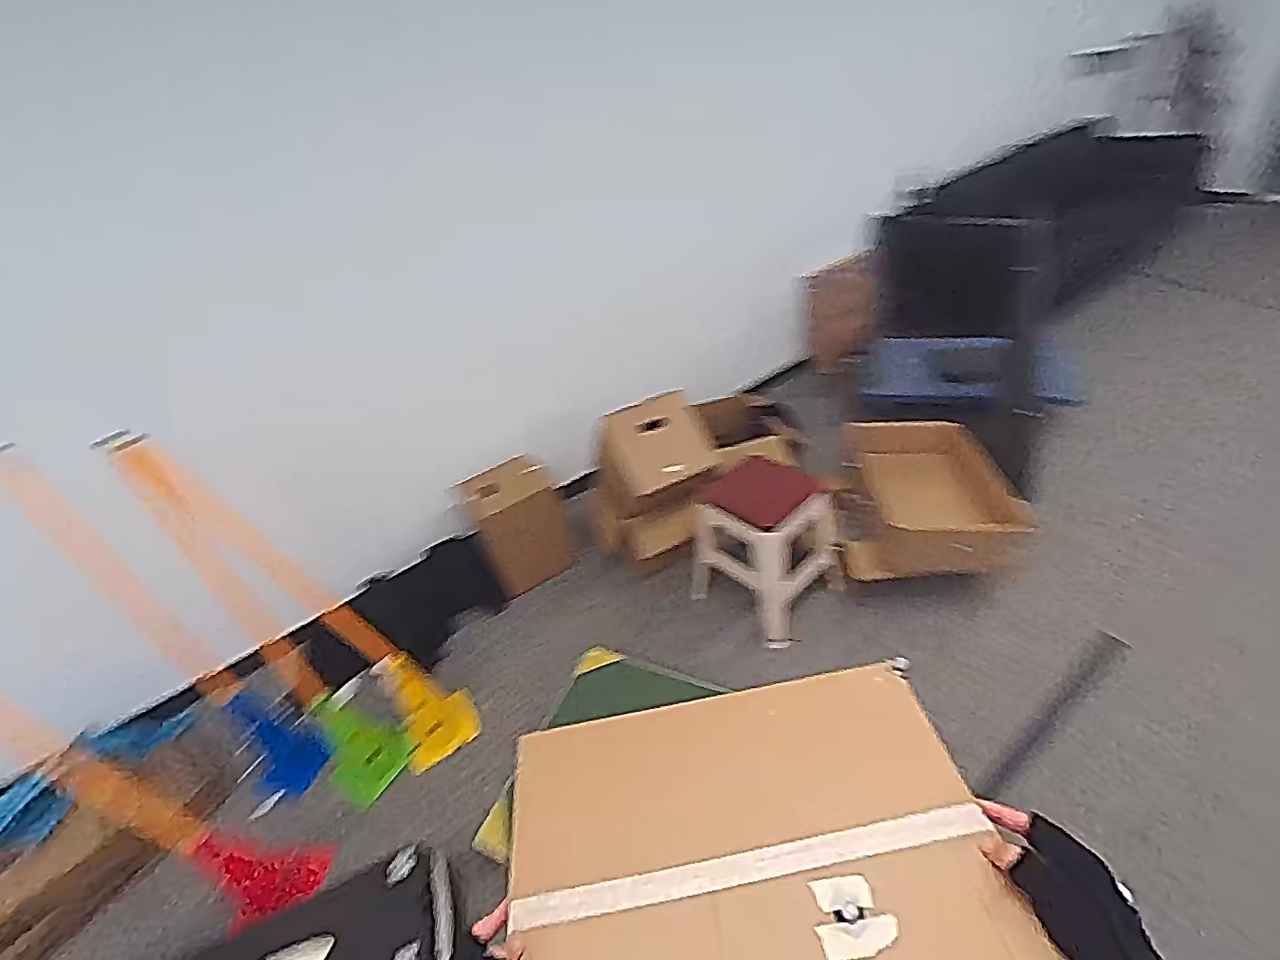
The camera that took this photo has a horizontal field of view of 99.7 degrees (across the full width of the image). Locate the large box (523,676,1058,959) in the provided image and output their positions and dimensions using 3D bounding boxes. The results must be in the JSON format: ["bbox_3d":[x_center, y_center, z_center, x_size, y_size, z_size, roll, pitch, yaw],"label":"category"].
[{"bbox_3d":[0.118,0.452,0.541,0.408,0.320,0.320,-10,37,0],"label":"large box"}]
